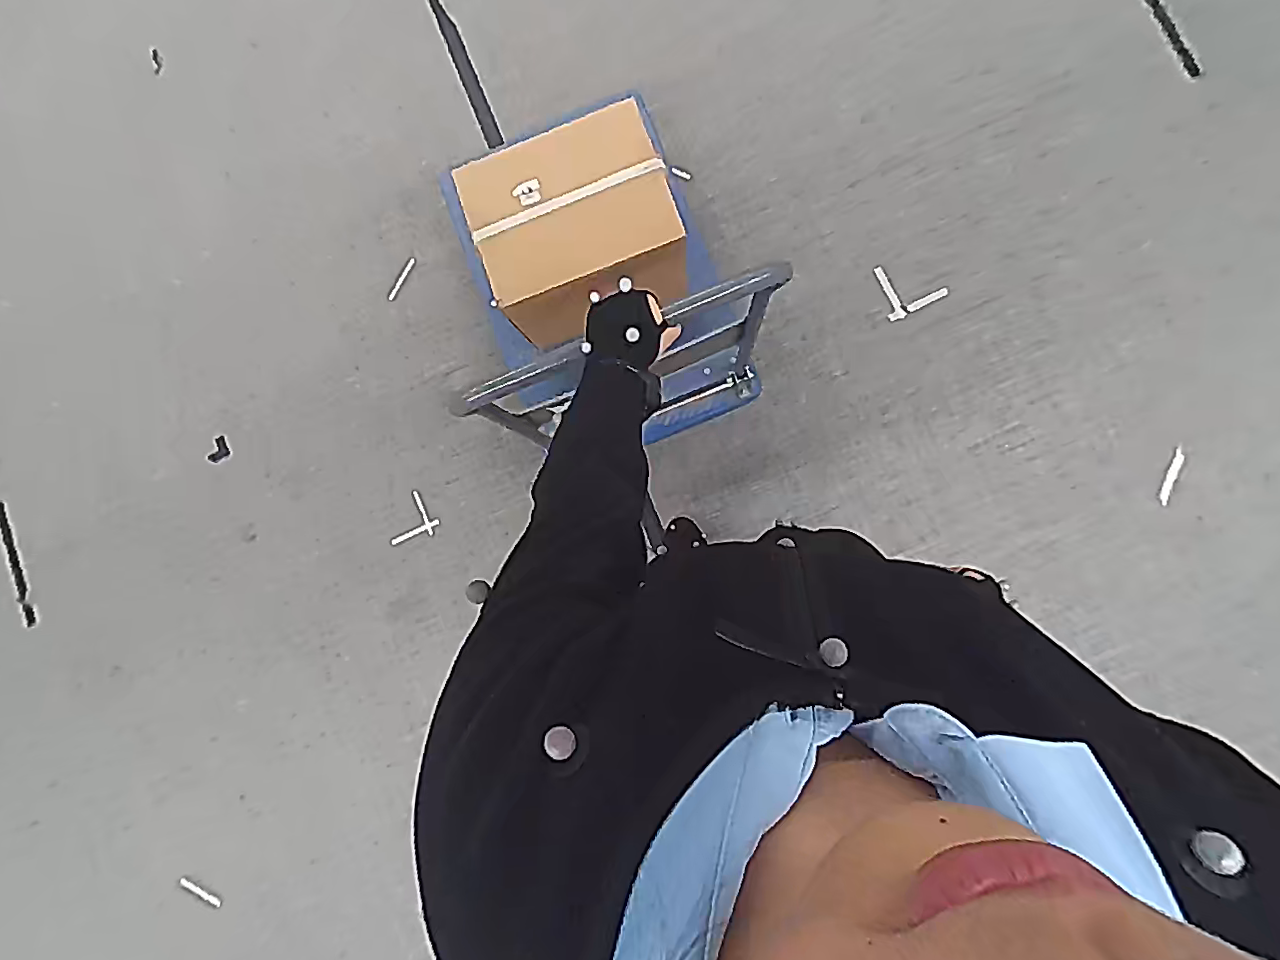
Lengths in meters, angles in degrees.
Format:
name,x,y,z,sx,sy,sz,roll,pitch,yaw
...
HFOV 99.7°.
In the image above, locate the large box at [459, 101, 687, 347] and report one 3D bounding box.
name,x,y,z,sx,sy,sz,roll,pitch,yaw
large box,-0.130,-0.556,1.250,0.408,0.320,0.320,-20,85,5
